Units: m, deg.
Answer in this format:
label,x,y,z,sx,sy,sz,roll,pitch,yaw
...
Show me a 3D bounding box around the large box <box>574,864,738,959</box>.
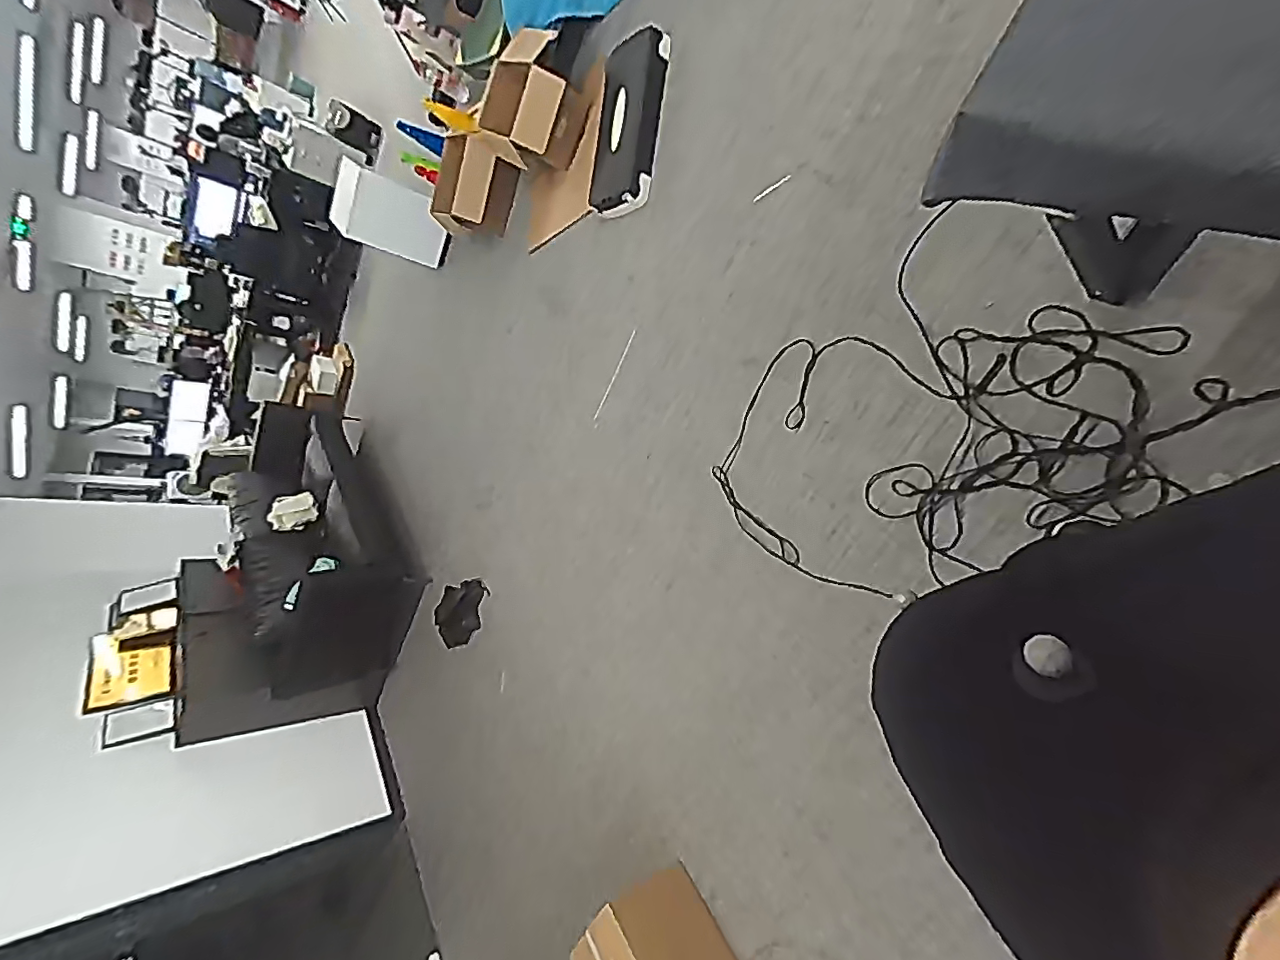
label,x,y,z,sx,sy,sz,roll,pitch,yaw
large box,0.069,1.470,1.596,0.408,0.320,0.320,47,118,41
